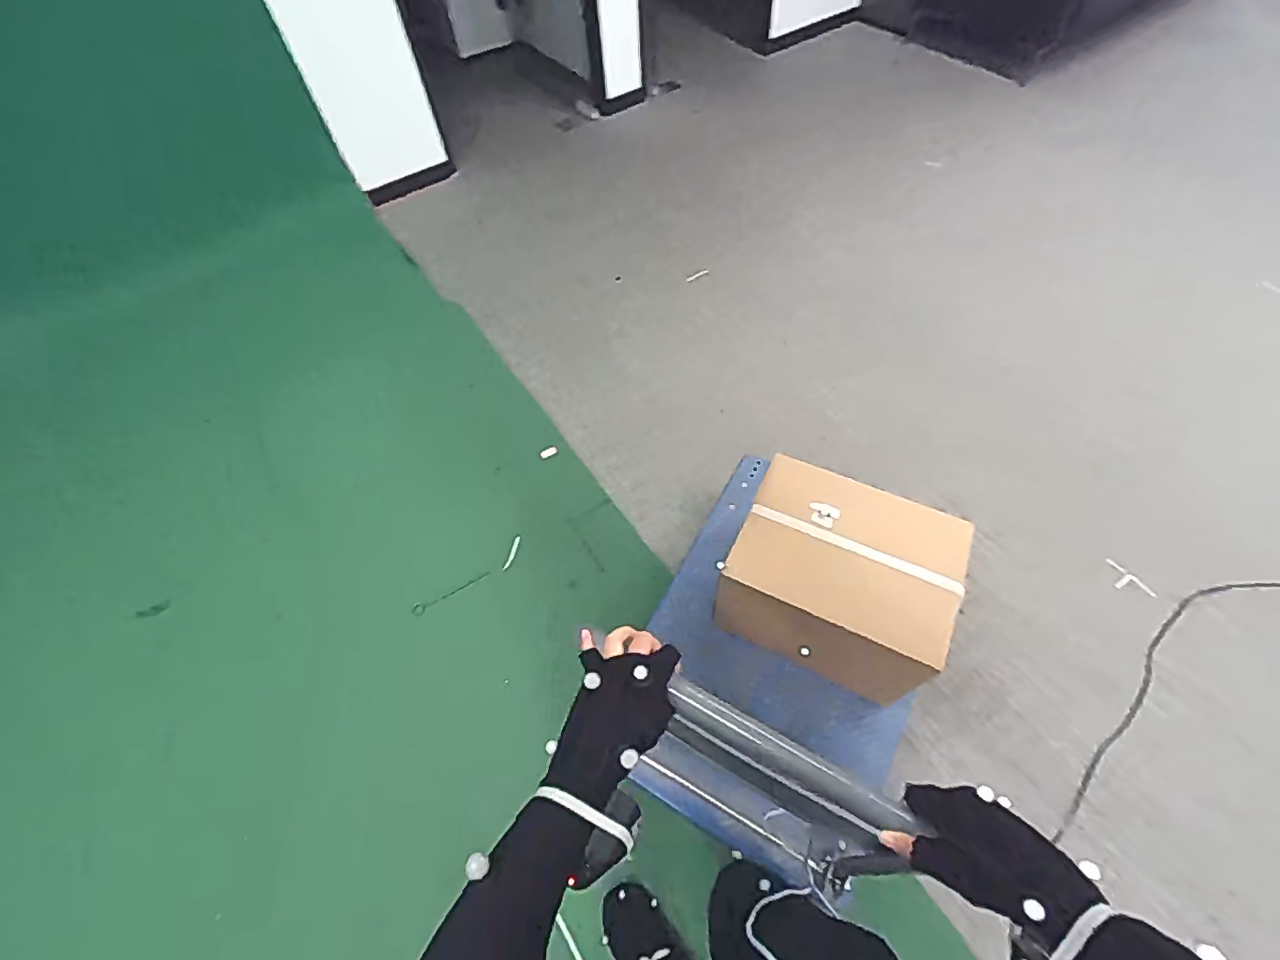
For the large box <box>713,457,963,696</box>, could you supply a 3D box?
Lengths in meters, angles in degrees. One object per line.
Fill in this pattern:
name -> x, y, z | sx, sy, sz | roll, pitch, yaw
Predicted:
large box -> 0.403, 0.212, 1.169 | 0.408, 0.320, 0.320 | 21, 60, 17
